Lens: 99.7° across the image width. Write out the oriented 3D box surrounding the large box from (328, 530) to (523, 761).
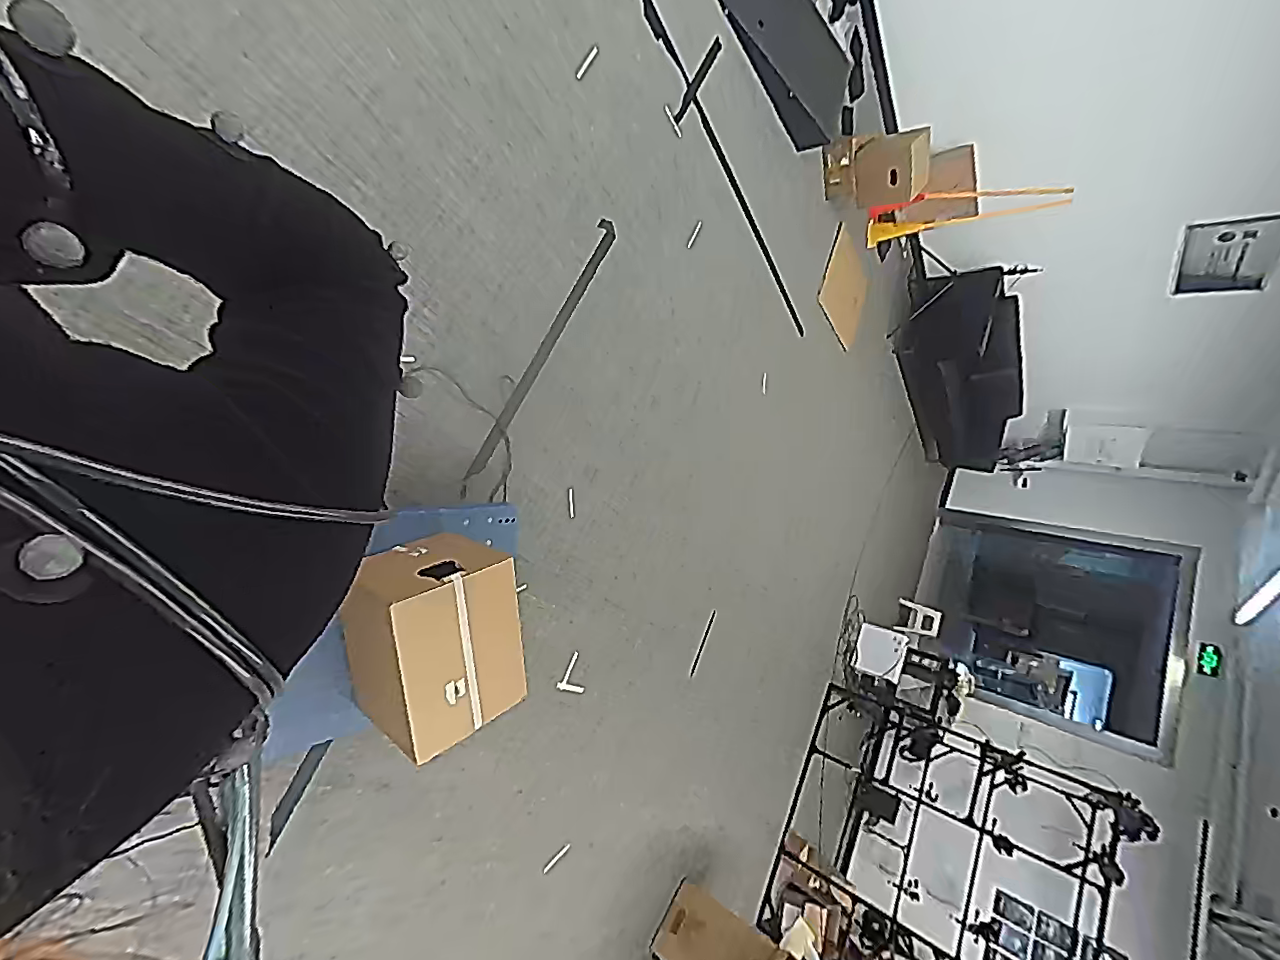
[{"bbox_3d":[-0.527,0.383,1.352,0.320,0.320,0.408,-18,113,-46],"label":"large box"}]
